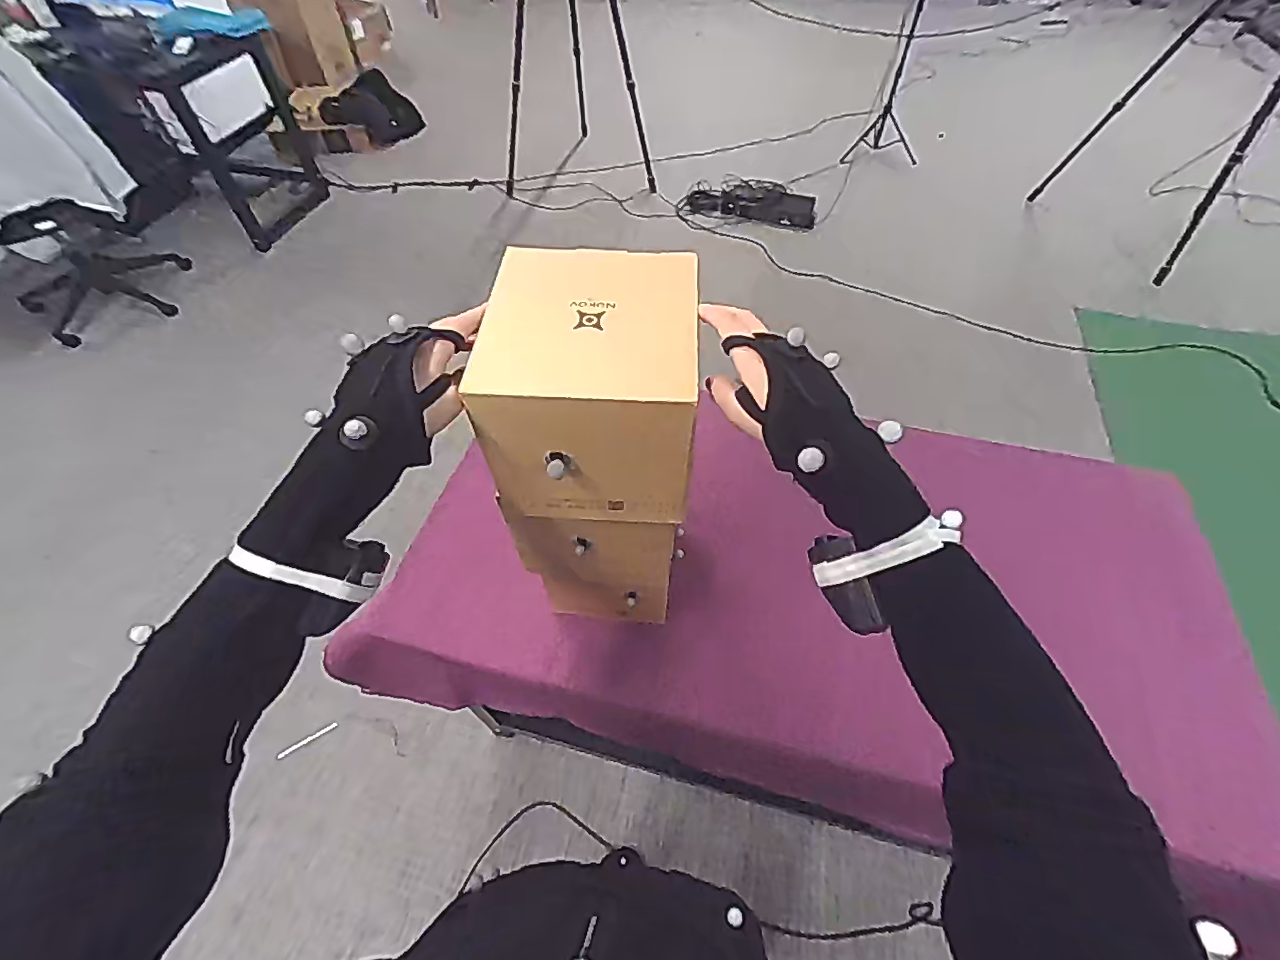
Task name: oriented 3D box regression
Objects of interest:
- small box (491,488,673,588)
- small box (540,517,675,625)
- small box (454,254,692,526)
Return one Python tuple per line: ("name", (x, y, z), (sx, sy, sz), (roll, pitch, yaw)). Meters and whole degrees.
("small box", (-0.047, 0.011, 0.619), (0.179, 0.176, 0.168), (6, 55, 4))
("small box", (-0.039, 0.089, 0.767), (0.168, 0.176, 0.179), (7, 53, 4))
("small box", (-0.042, -0.073, 0.479), (0.168, 0.176, 0.179), (3, 55, 2))
